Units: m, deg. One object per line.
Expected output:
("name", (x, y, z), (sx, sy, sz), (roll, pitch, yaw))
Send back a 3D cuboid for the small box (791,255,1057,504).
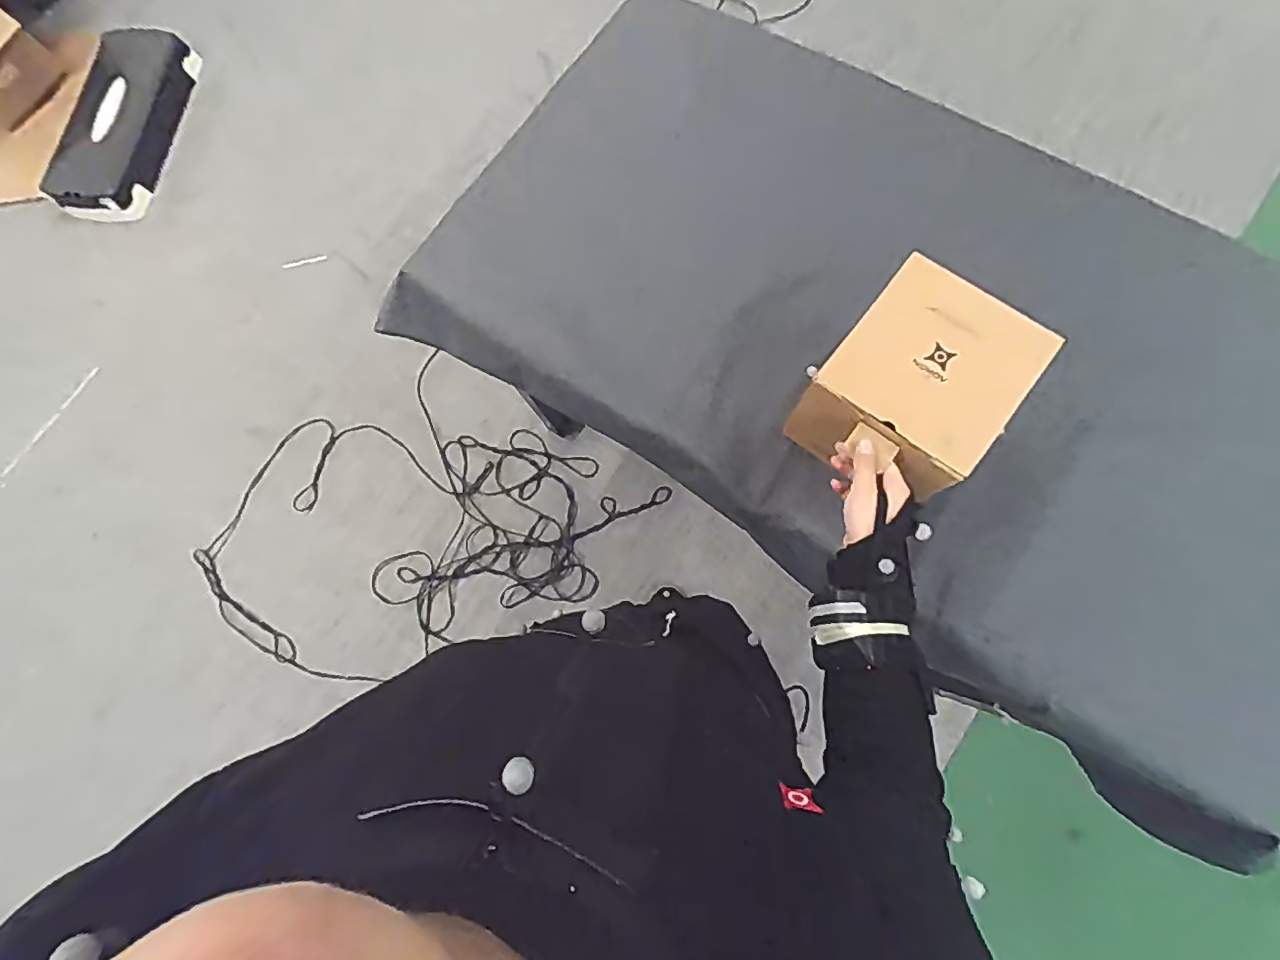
("small box", (0.286, -0.094, 0.592), (0.168, 0.176, 0.179), (37, 82, 10))
